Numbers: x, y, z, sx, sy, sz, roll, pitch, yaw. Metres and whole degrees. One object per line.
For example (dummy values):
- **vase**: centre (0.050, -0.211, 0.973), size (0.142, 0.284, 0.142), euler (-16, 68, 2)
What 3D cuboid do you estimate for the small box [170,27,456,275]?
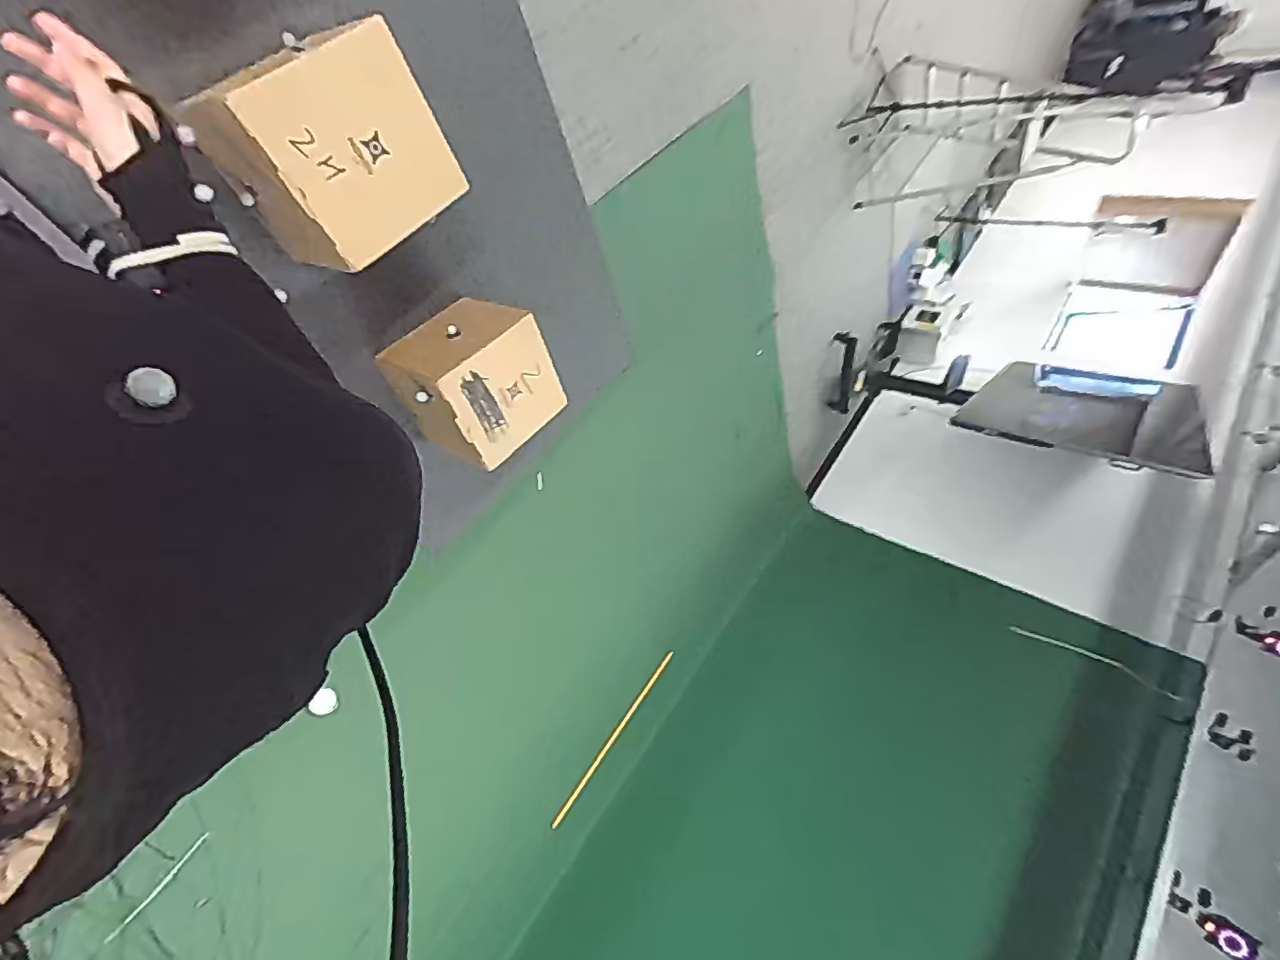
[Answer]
- **small box**: centre (-0.346, -0.351, 0.584), size (0.179, 0.176, 0.168), euler (-51, 143, -23)
